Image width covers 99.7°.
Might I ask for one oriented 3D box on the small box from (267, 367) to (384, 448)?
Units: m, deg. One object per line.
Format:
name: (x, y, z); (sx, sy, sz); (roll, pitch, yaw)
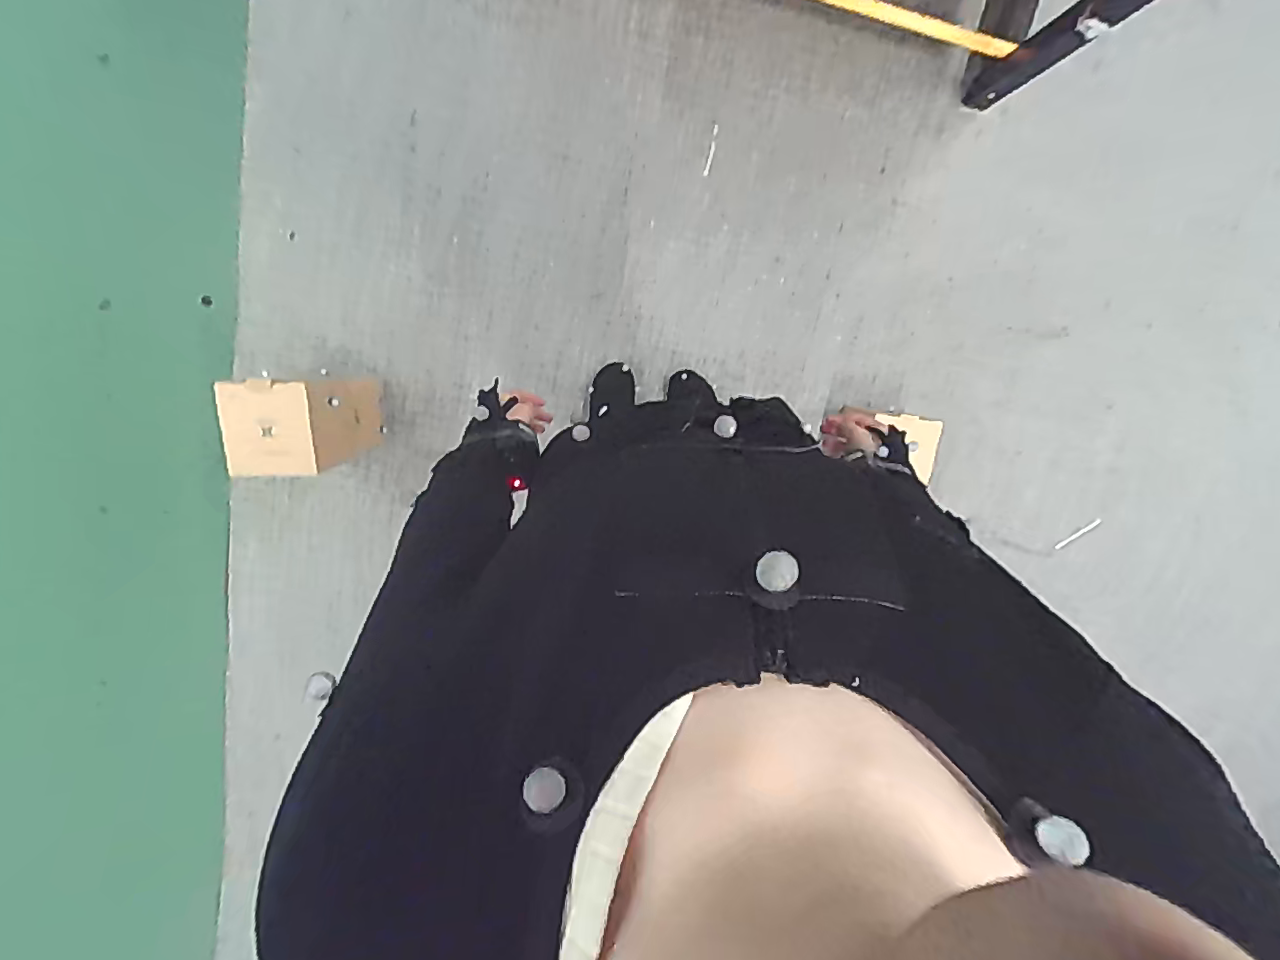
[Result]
small box: (-0.696, -0.167, 1.223); (0.179, 0.176, 0.168); (2, 103, -2)

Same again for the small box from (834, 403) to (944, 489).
small box: (0.592, -0.089, 1.309); (0.168, 0.176, 0.179); (6, 103, -5)

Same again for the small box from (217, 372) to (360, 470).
small box: (-0.680, -0.122, 1.067); (0.168, 0.176, 0.179); (-1, 105, -1)
